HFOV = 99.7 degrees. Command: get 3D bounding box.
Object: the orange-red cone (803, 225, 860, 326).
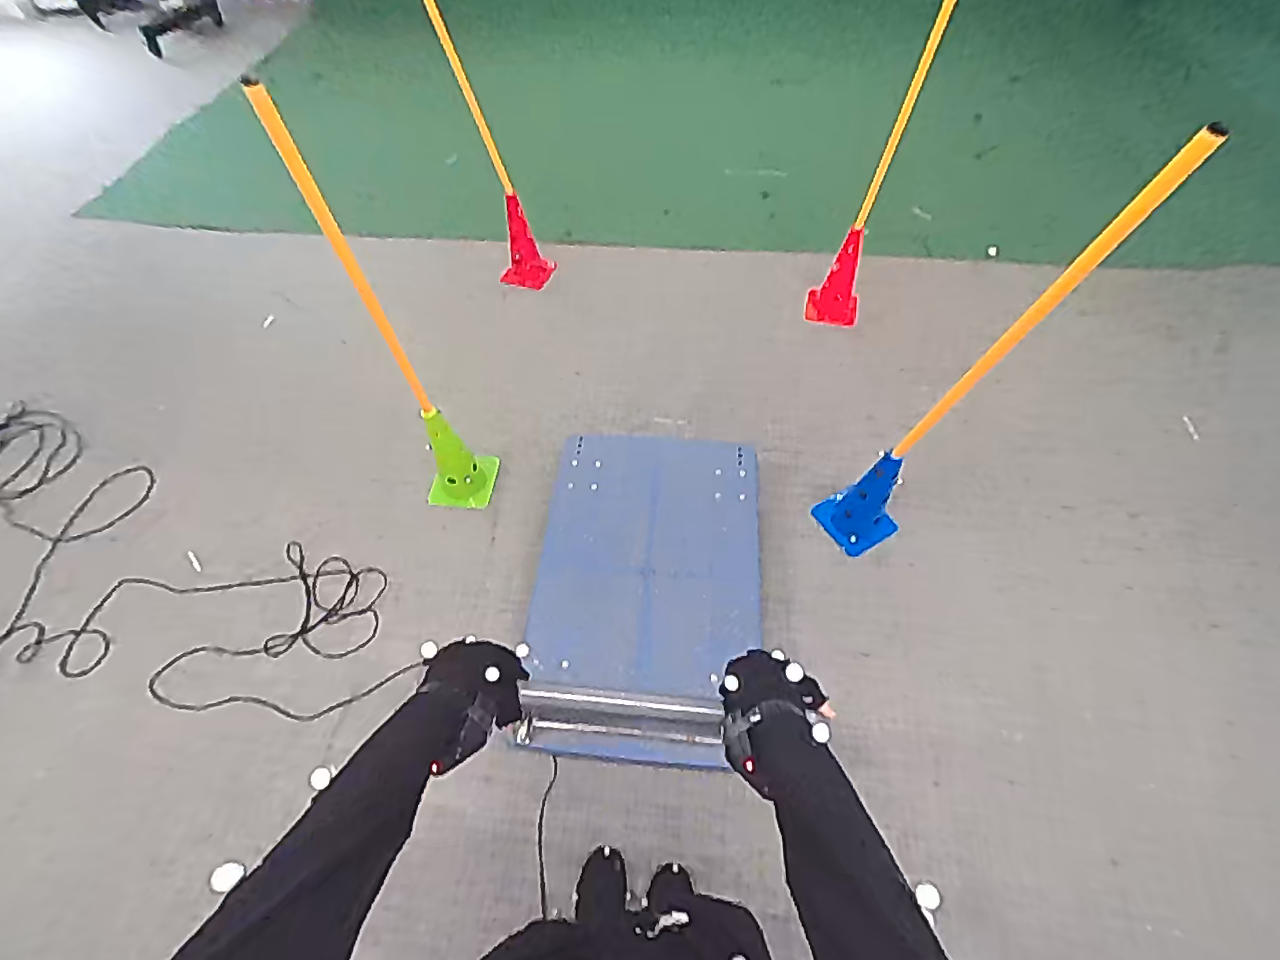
[{"bbox_3d":[0.765,-0.794,2.054,0.198,0.360,0.199,14,59,11],"label":"orange-red cone"}]
